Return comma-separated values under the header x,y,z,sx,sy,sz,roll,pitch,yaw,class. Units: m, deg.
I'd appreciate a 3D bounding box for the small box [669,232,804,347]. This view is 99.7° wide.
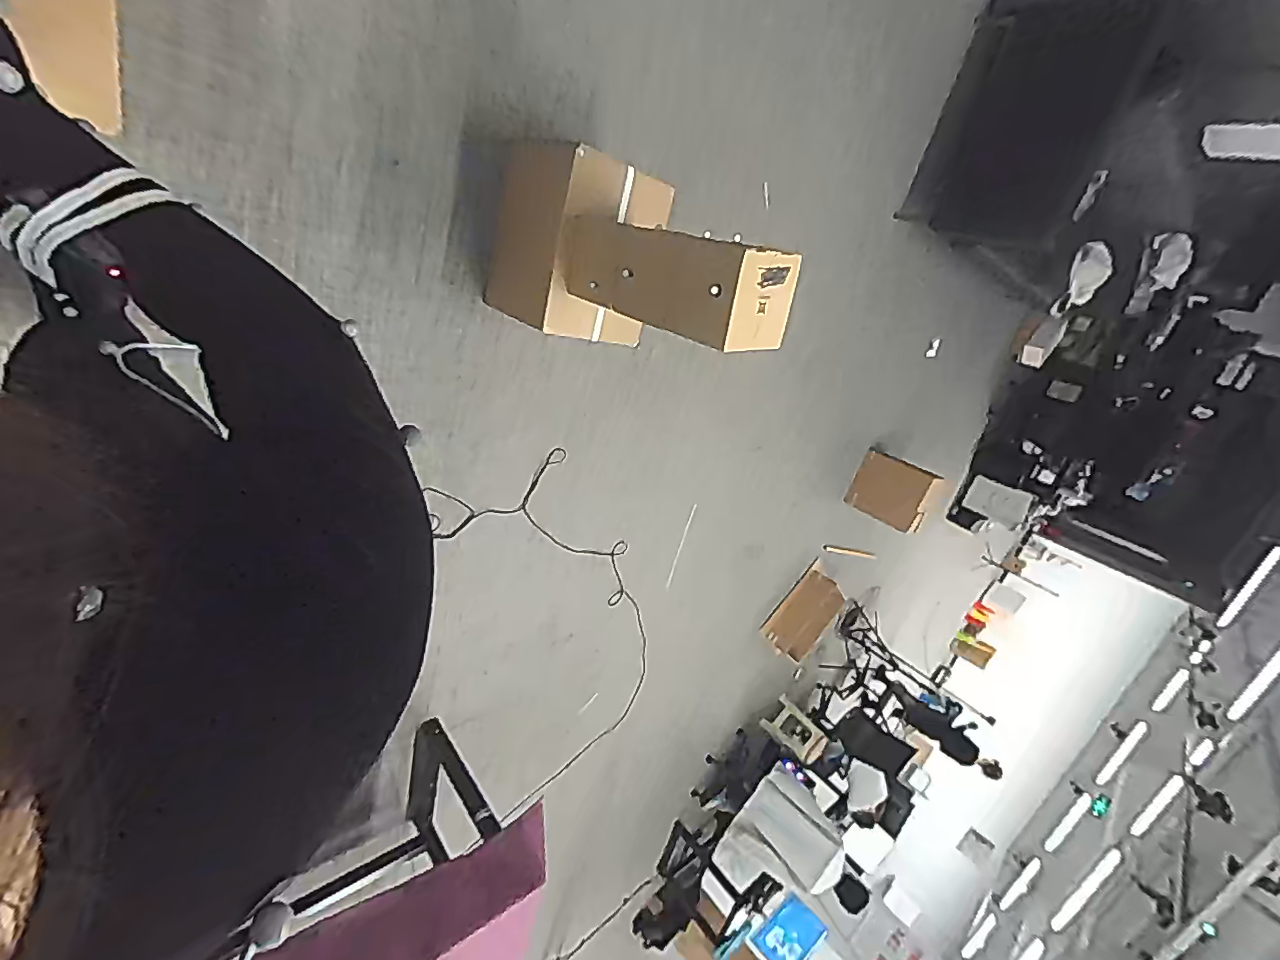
x,y,z,sx,sy,sz,roll,pitch,yaw,class
0.175,-0.363,1.026,0.168,0.176,0.179,-14,126,-37,small box

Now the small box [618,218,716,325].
x,y,z,sx,sy,sz,roll,pitch,yaw,class
0.072,-0.434,1.134,0.168,0.176,0.179,-13,126,-38,small box

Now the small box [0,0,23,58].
x,y,z,sx,sy,sz,roll,pitch,yaw,class
-0.720,-0.549,0.515,0.168,0.176,0.179,10,109,-46,small box
